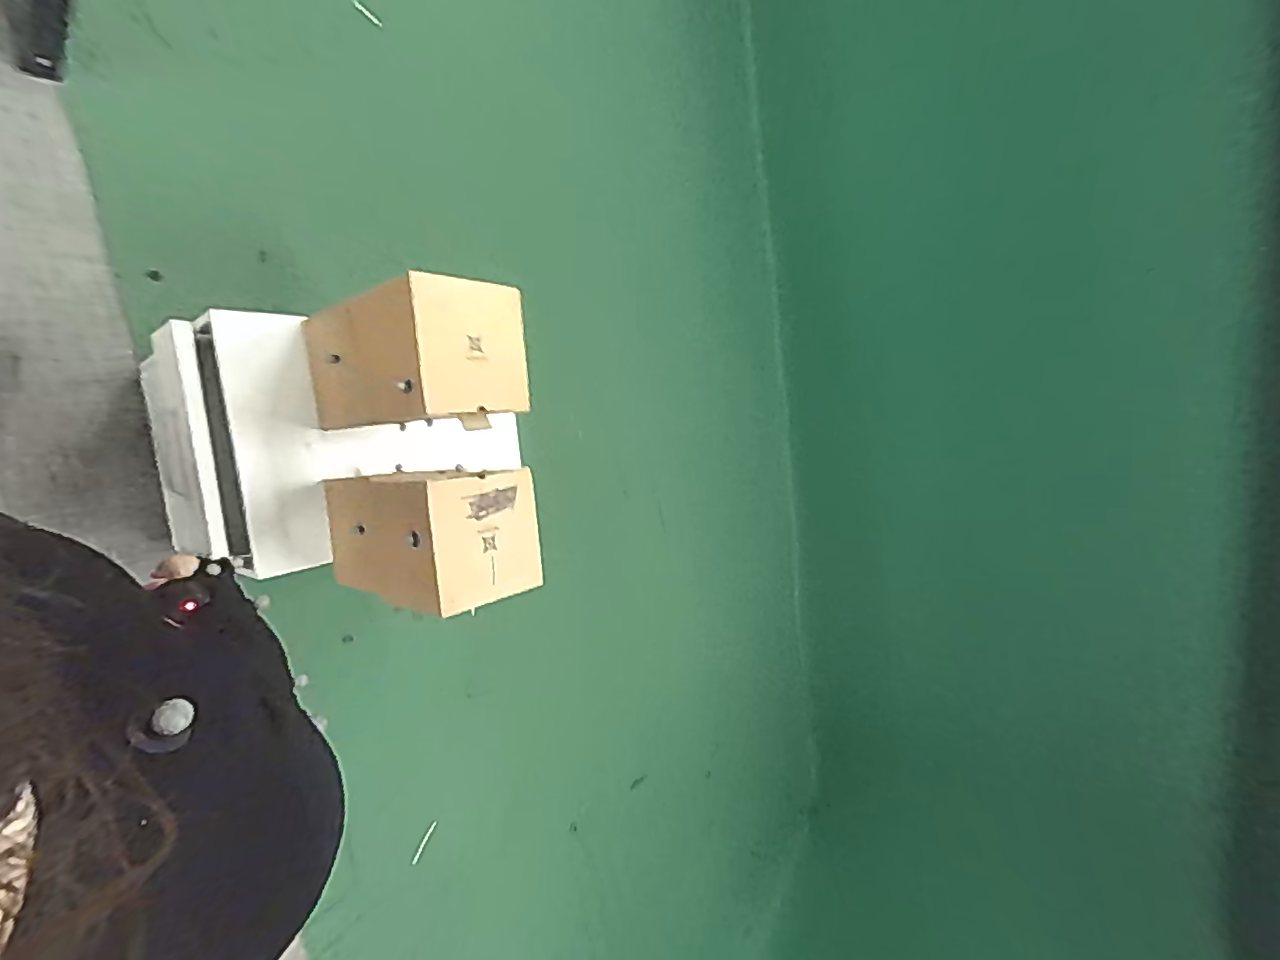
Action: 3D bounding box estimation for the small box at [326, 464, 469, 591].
[{"bbox_3d":[-0.387,0.070,0.878,0.168,0.176,0.179,-9,97,-50],"label":"small box"}]

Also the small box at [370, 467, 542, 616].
[{"bbox_3d":[-0.263,0.077,0.771,0.168,0.176,0.179,-10,98,-50],"label":"small box"}]
